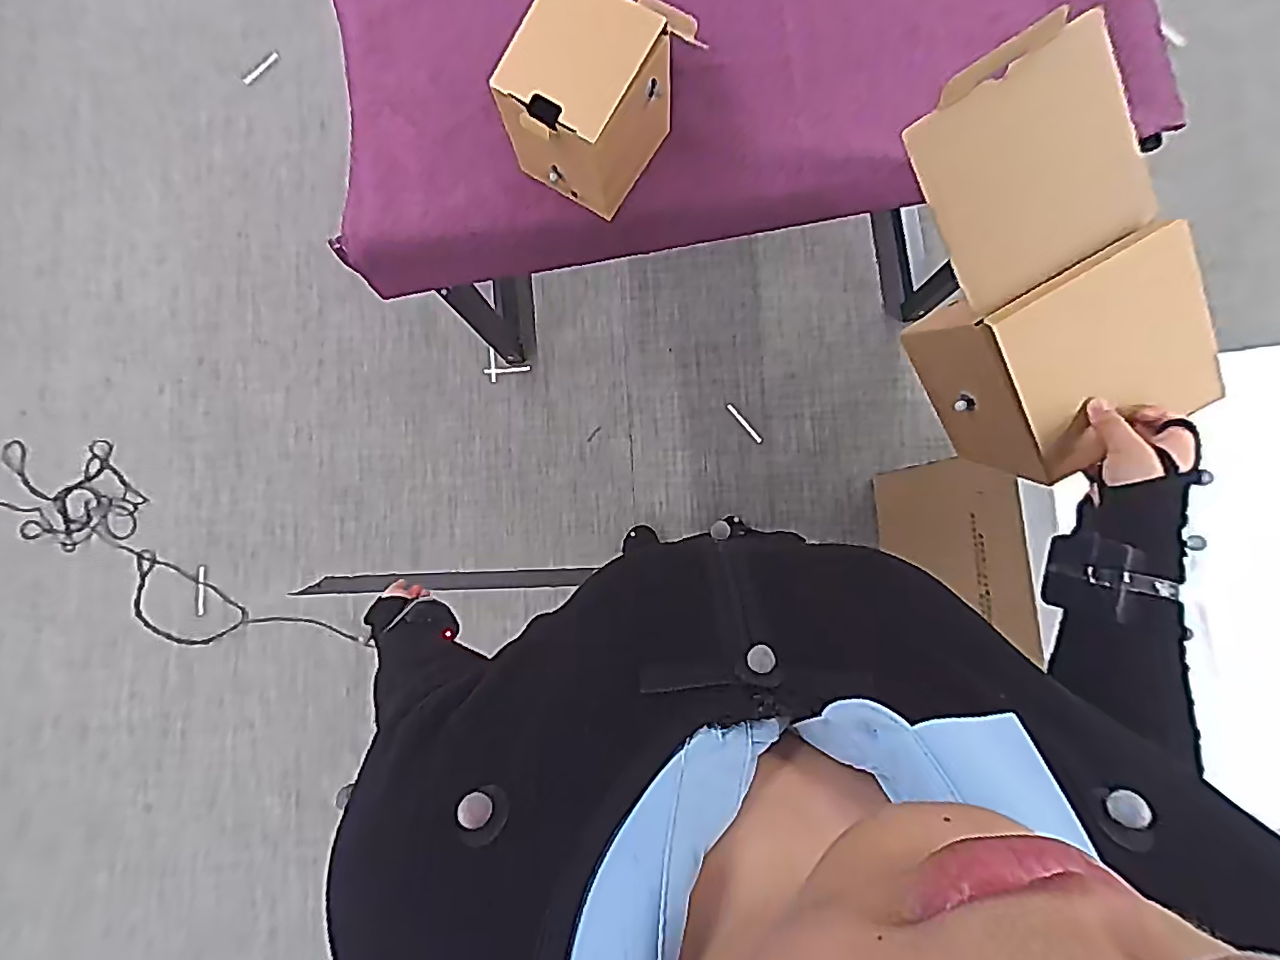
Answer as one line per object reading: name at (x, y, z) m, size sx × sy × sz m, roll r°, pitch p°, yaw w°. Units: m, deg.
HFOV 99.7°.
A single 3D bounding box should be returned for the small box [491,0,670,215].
small box at (-0.073, -0.522, 0.758) m, size 0.168 × 0.176 × 0.179 m, roll 32°, pitch 87°, yaw 6°
